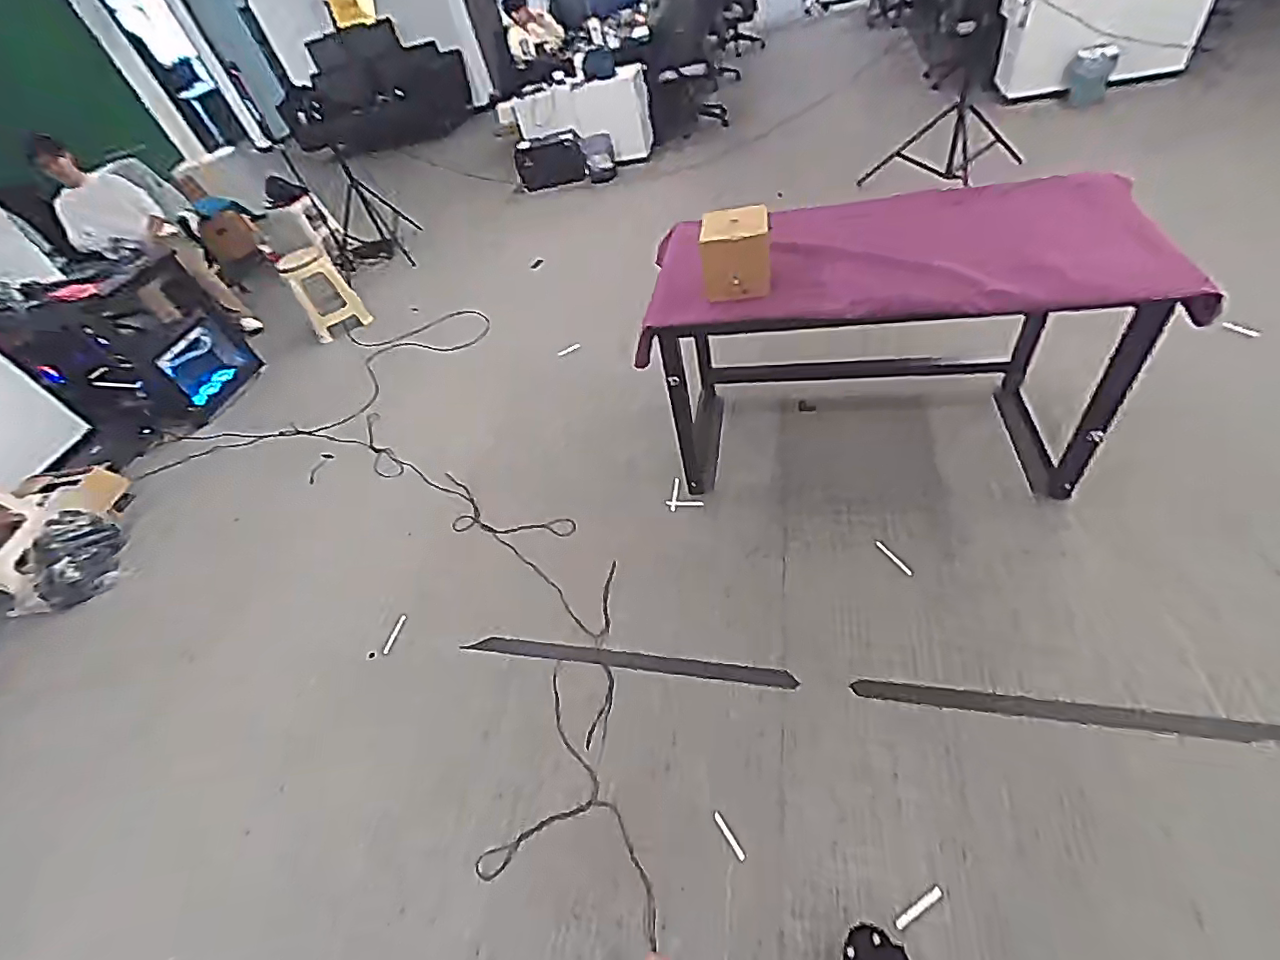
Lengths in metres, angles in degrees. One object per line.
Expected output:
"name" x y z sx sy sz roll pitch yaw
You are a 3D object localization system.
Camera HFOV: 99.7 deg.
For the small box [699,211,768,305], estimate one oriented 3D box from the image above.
"small box" 0.253 -0.587 1.438 0.168 0.176 0.179 -2 47 14
